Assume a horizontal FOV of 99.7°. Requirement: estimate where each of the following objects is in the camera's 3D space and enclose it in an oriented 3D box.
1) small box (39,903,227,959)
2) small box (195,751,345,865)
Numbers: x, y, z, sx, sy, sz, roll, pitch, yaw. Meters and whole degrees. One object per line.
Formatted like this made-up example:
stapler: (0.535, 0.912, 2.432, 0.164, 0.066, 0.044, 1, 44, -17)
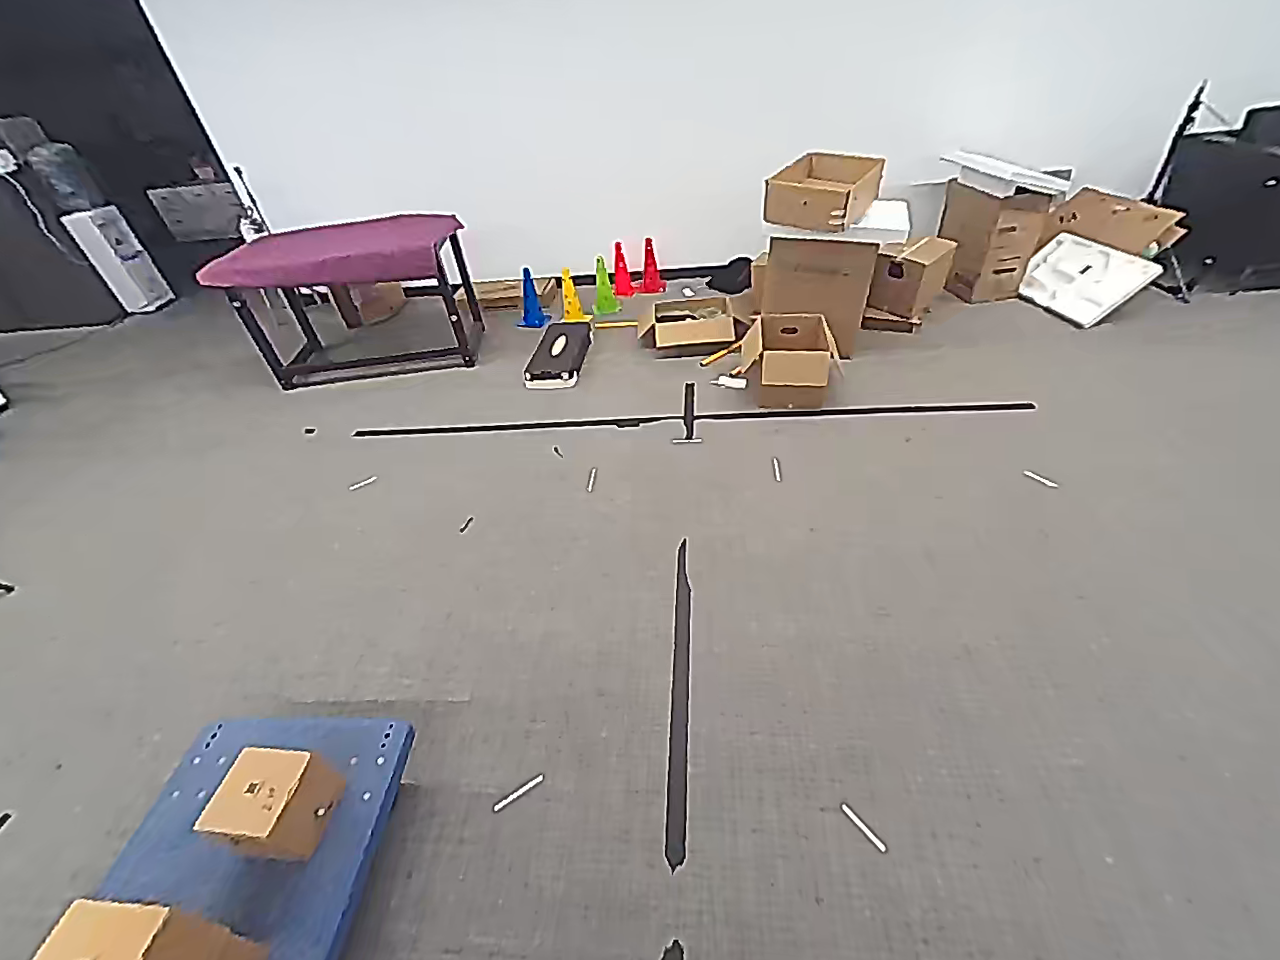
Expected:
small box: (-0.816, 0.792, 0.845, 0.179, 0.176, 0.168, 0, 40, 6)
small box: (-0.797, 0.719, 1.185, 0.179, 0.176, 0.168, 0, 41, 8)
